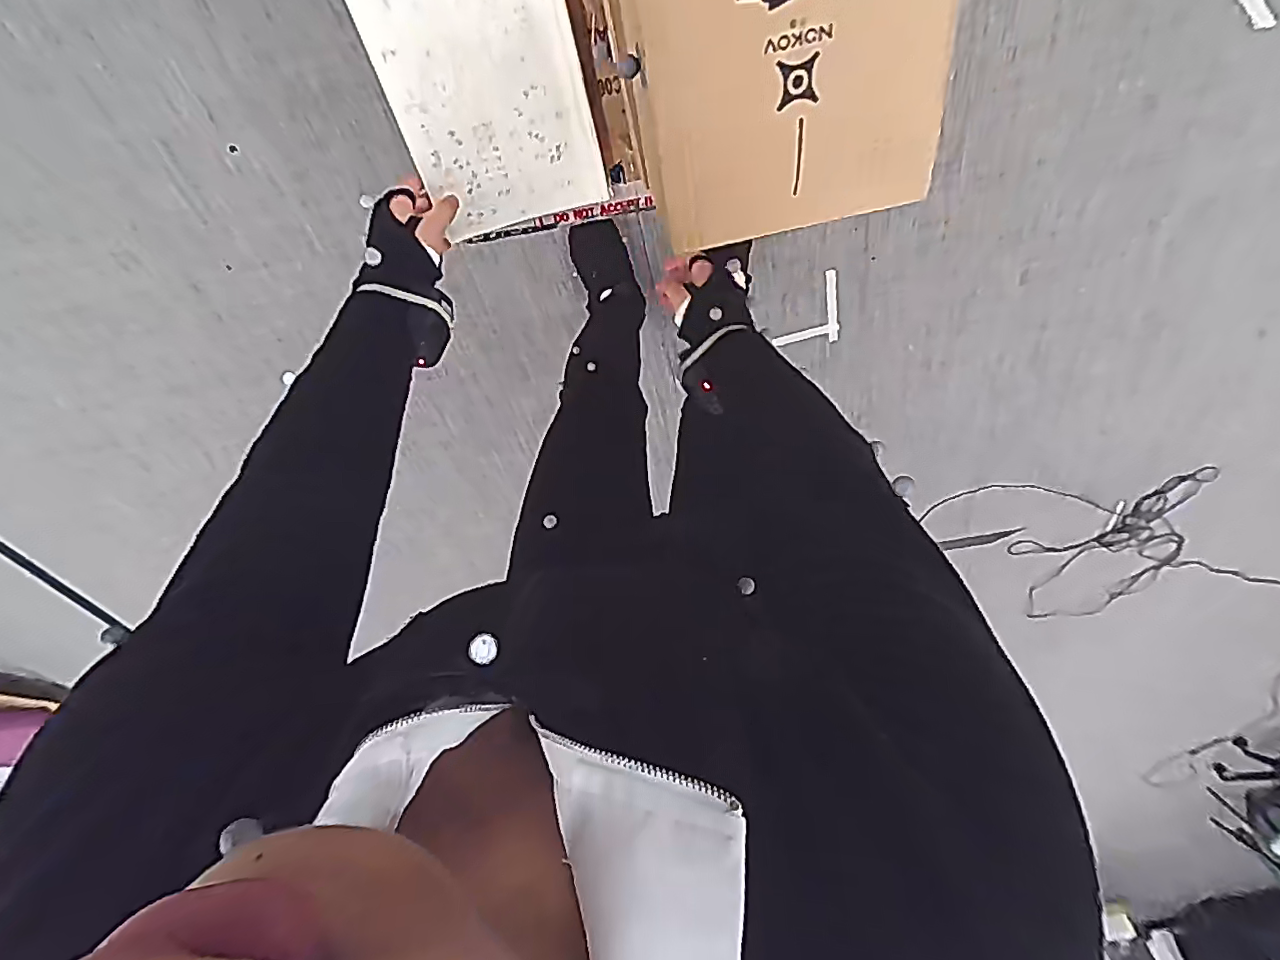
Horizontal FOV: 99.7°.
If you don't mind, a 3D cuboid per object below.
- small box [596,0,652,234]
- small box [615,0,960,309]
[{"bbox_3d":[0.064,-0.353,0.490,0.179,0.176,0.168,-13,131,6],"label":"small box"},{"bbox_3d":[0.081,-0.245,0.366,0.168,0.176,0.179,-11,132,3],"label":"small box"}]
